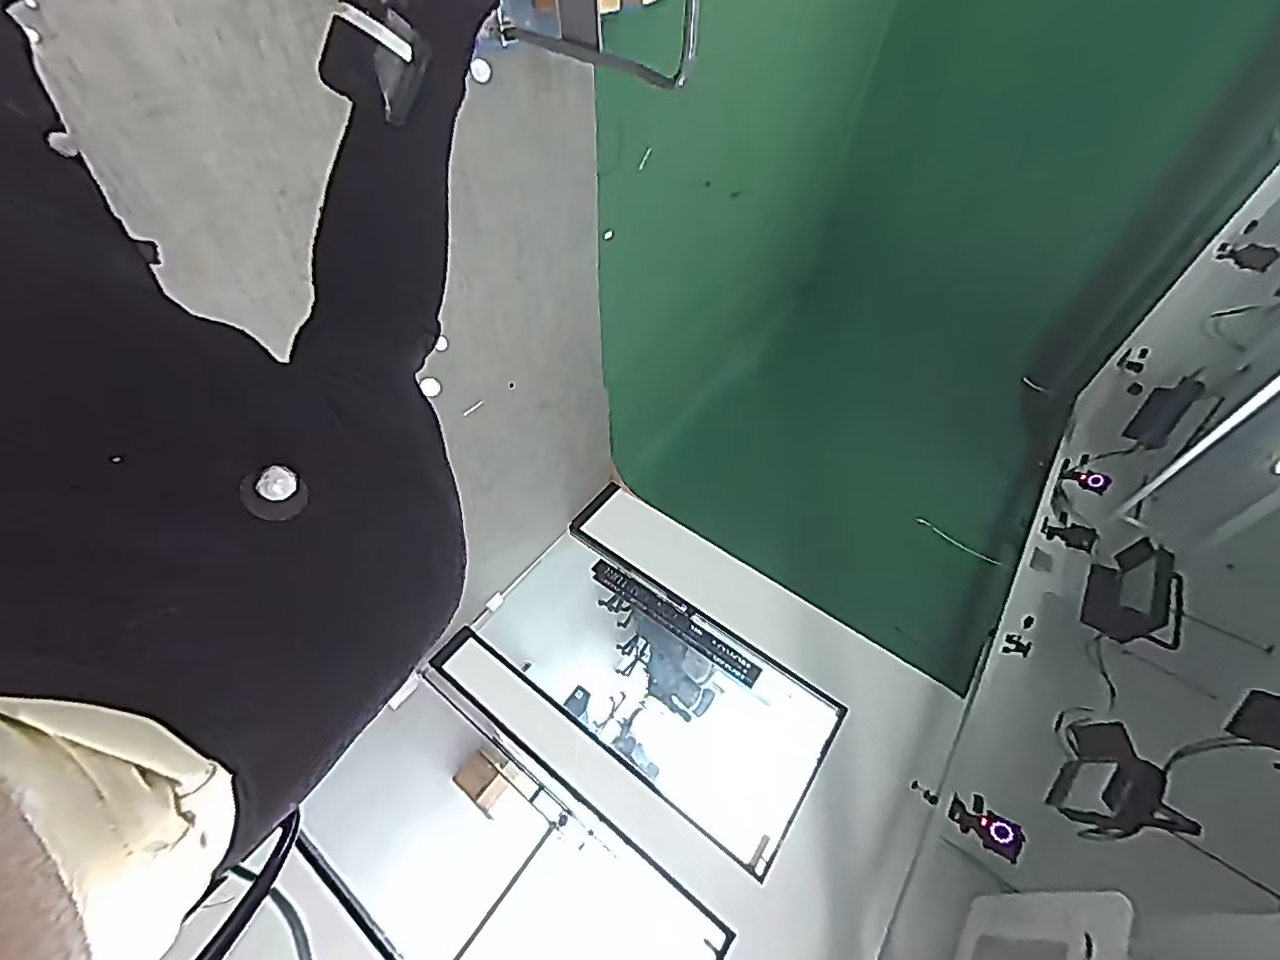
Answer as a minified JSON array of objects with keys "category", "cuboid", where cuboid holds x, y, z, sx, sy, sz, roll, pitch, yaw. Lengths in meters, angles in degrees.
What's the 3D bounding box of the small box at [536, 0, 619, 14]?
[{"category":"small box","cuboid":[-0.173,-1.388,1.457,0.179,0.176,0.168,-43,154,-31]}]
